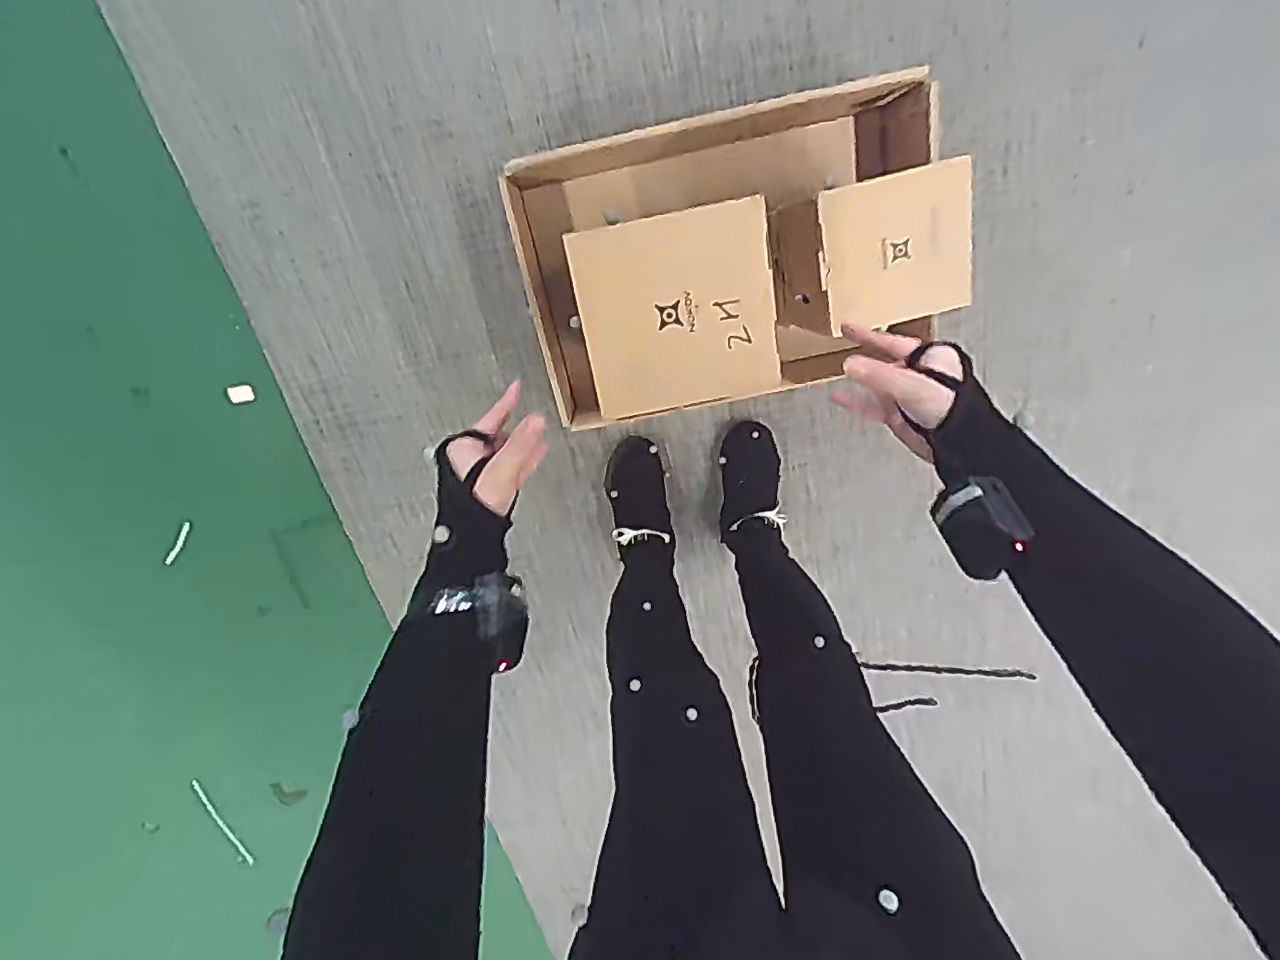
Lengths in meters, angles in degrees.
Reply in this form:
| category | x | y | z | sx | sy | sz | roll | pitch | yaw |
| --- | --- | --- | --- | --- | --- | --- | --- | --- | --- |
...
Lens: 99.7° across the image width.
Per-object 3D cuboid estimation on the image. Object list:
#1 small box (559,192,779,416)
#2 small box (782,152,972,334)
| category | x | y | z | sx | sy | sz | roll | pitch | yaw |
| --- | --- | --- | --- | --- | --- | --- | --- | --- | --- |
| small box | 0.028 | -0.176 | 0.551 | 0.179 | 0.176 | 0.168 | -11 | 111 | 1 |
| small box | 0.292 | -0.296 | 0.696 | 0.179 | 0.176 | 0.168 | -13 | 113 | 3 |
